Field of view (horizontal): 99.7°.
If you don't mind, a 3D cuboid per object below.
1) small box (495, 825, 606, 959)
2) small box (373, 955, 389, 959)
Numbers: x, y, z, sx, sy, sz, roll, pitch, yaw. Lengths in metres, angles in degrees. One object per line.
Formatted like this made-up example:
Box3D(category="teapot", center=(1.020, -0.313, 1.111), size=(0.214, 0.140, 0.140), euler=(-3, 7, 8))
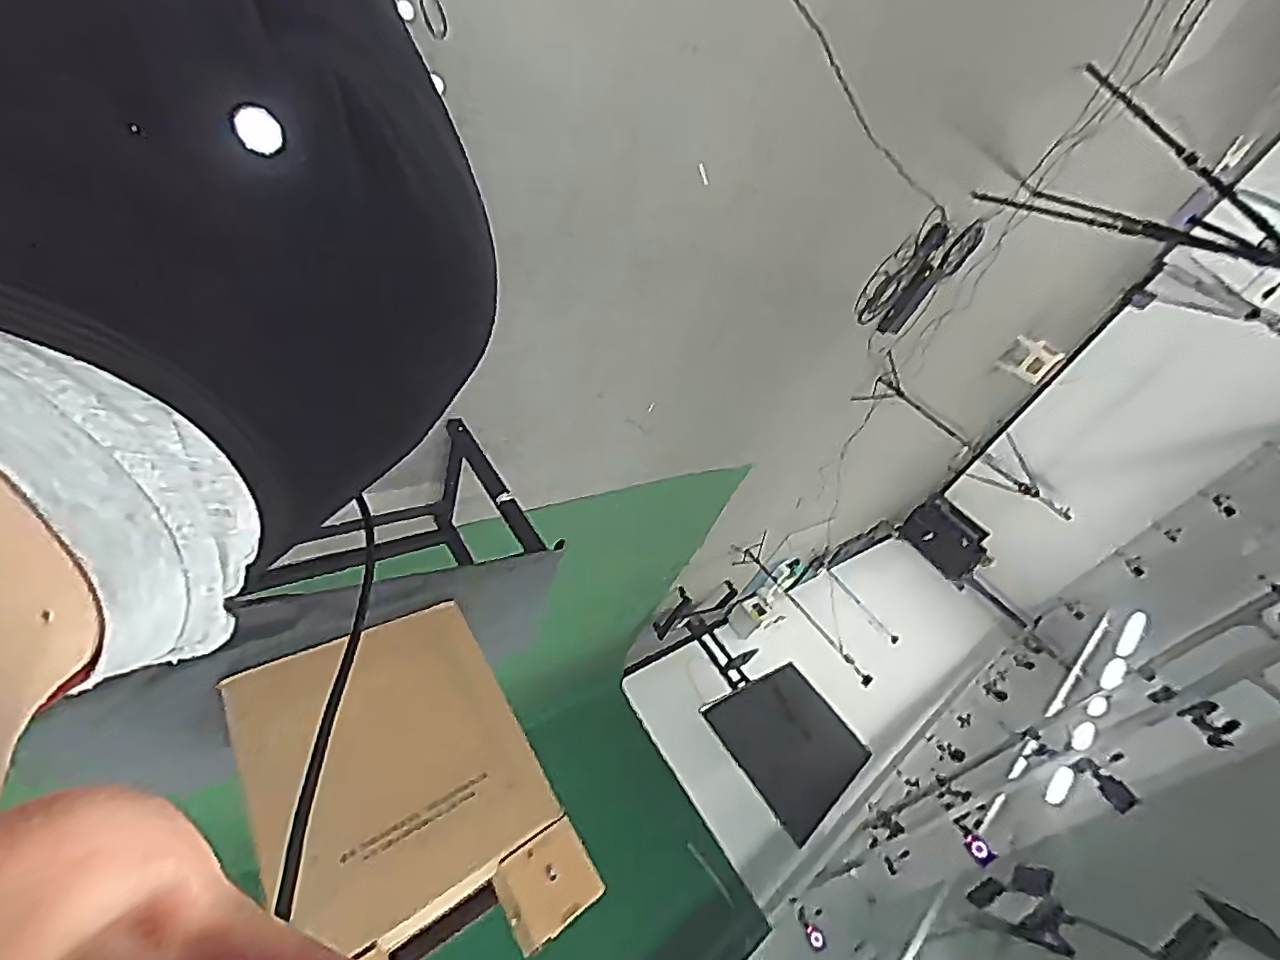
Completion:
Box3D(category="small box", center=(-0.203, 0.901, 1.188), size=(0.168, 0.176, 0.179), euler=(-18, 144, -36))
Box3D(category="small box", center=(-0.502, 0.973, 0.937), size=(0.168, 0.176, 0.179), euler=(-17, 145, -31))
